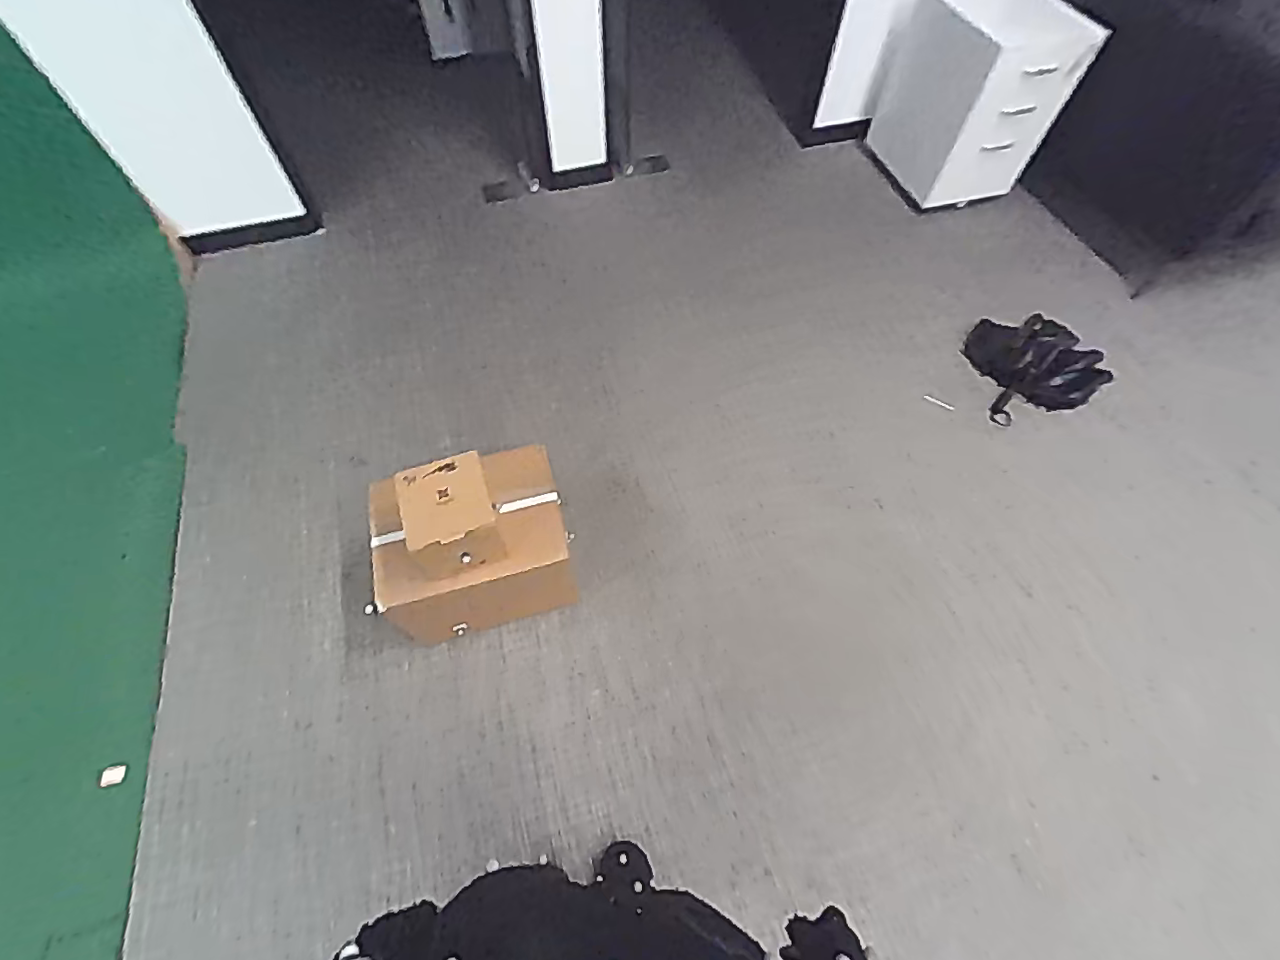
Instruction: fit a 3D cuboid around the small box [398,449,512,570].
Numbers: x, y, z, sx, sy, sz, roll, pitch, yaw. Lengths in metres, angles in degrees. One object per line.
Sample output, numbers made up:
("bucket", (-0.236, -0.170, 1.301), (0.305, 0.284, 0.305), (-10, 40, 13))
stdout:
("small box", (-0.372, 0.070, 1.107), (0.168, 0.176, 0.179), (-17, 63, -10))
